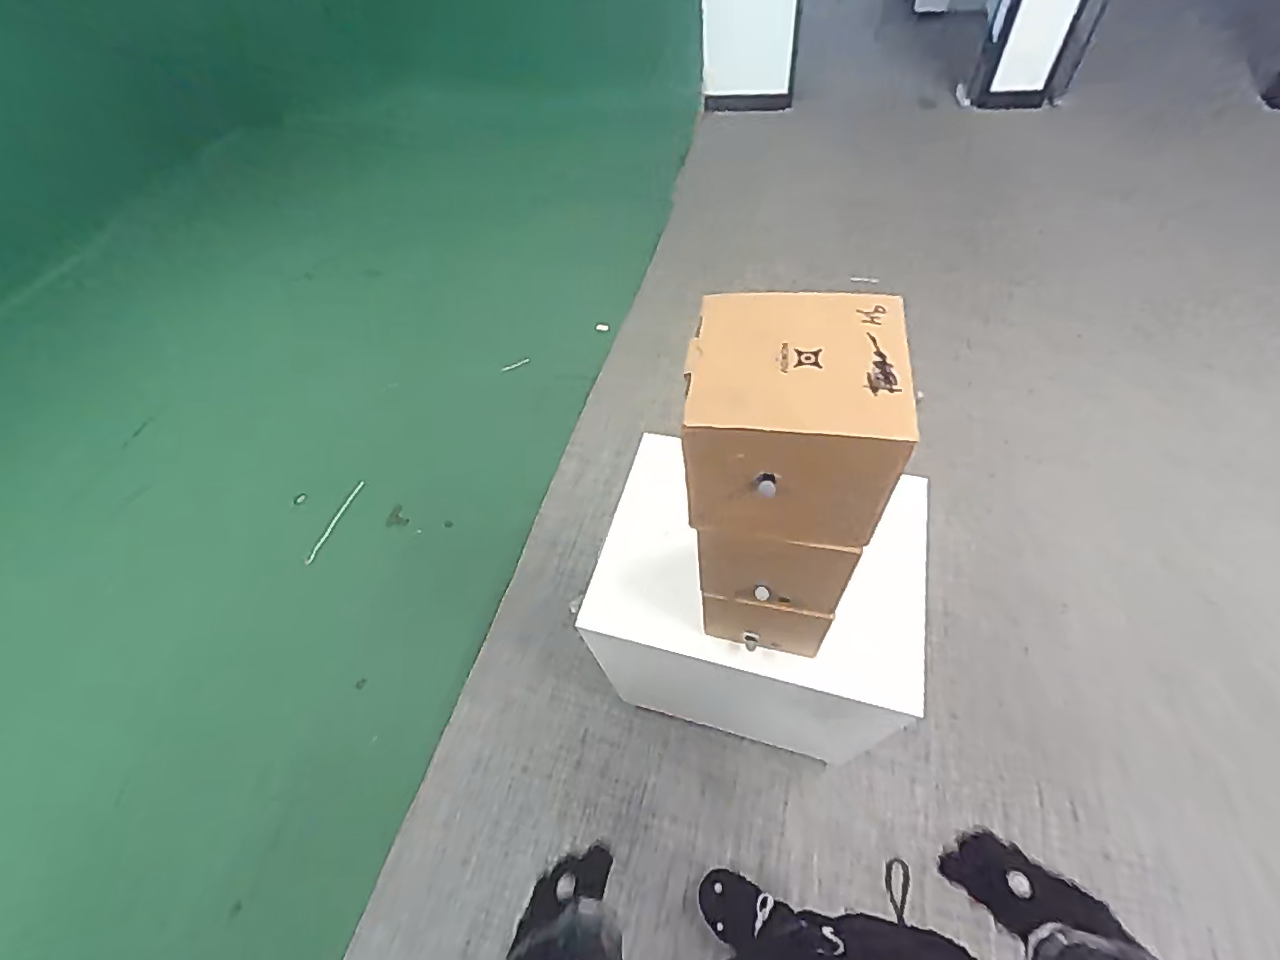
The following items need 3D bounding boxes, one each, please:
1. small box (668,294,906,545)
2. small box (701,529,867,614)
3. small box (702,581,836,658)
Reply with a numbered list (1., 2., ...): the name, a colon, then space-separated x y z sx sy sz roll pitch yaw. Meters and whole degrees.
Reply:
1. small box: 0.133 -0.052 0.508 0.179 0.176 0.168 4 57 13
2. small box: 0.164 0.037 0.643 0.168 0.176 0.179 5 55 13
3. small box: 0.186 0.133 0.773 0.168 0.176 0.179 7 59 15
